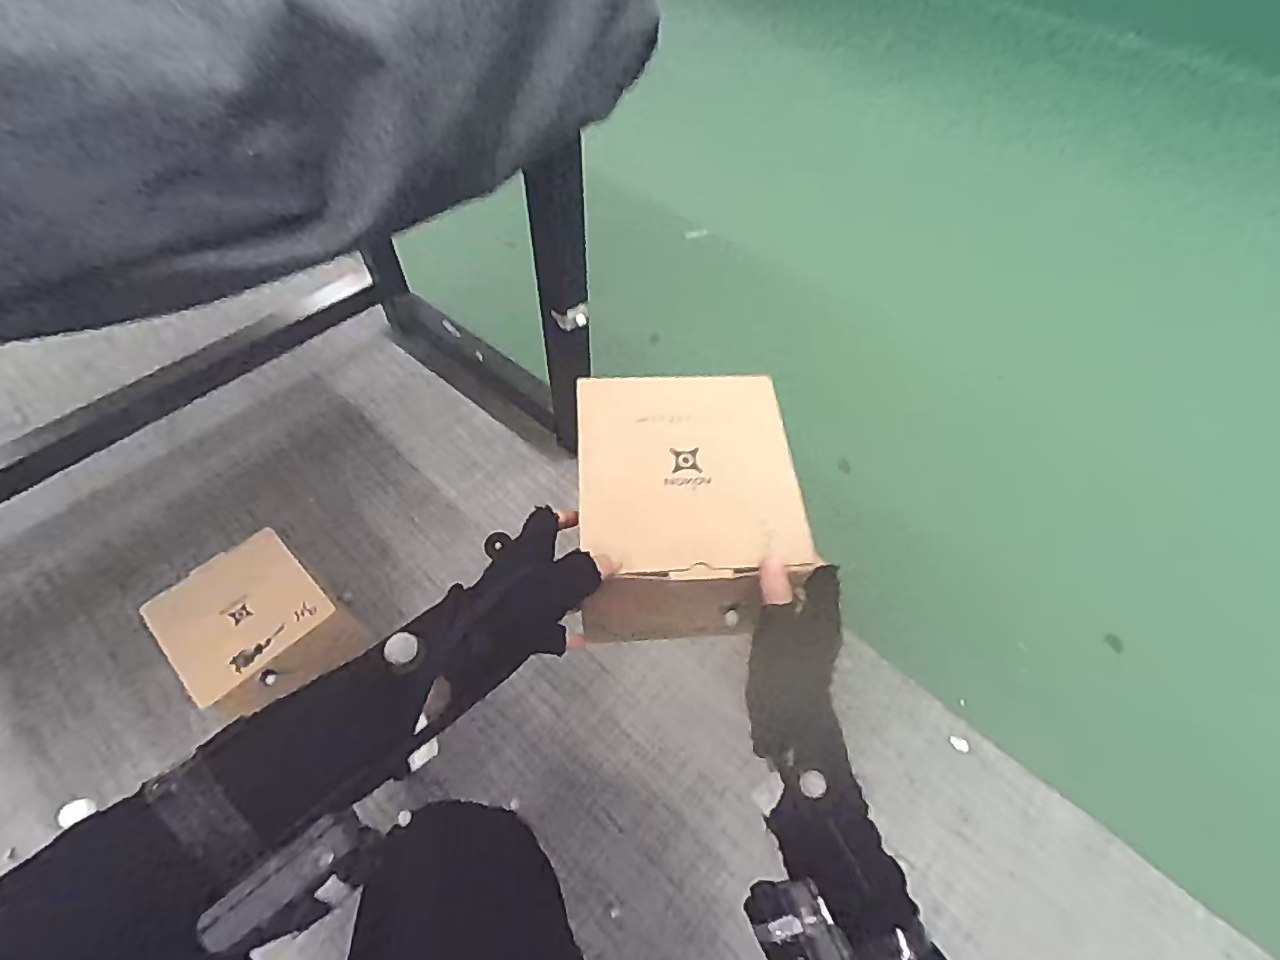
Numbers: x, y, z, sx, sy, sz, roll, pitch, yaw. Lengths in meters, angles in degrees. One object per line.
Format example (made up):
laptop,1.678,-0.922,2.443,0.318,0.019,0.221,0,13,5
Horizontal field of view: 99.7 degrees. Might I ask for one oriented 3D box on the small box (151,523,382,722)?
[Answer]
small box,-0.495,0.200,0.740,0.179,0.176,0.168,37,63,22
